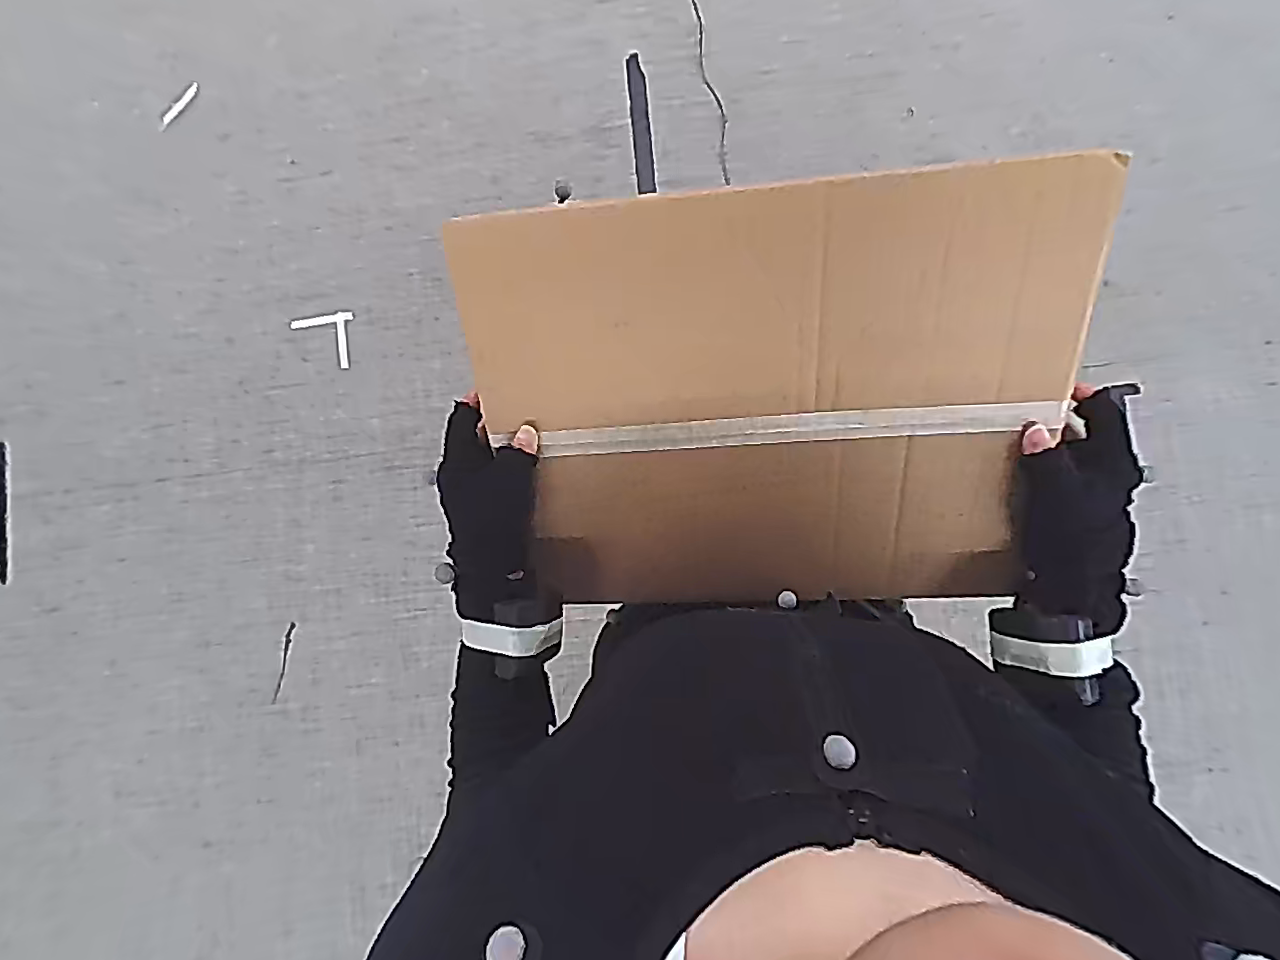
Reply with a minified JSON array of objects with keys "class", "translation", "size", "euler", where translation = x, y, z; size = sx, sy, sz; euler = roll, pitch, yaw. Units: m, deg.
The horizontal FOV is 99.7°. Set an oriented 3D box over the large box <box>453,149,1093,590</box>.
[{"class":"large box","translation":[0.094,-0.113,0.535],"size":[0.408,0.320,0.320],"euler":[-2,118,7]}]
